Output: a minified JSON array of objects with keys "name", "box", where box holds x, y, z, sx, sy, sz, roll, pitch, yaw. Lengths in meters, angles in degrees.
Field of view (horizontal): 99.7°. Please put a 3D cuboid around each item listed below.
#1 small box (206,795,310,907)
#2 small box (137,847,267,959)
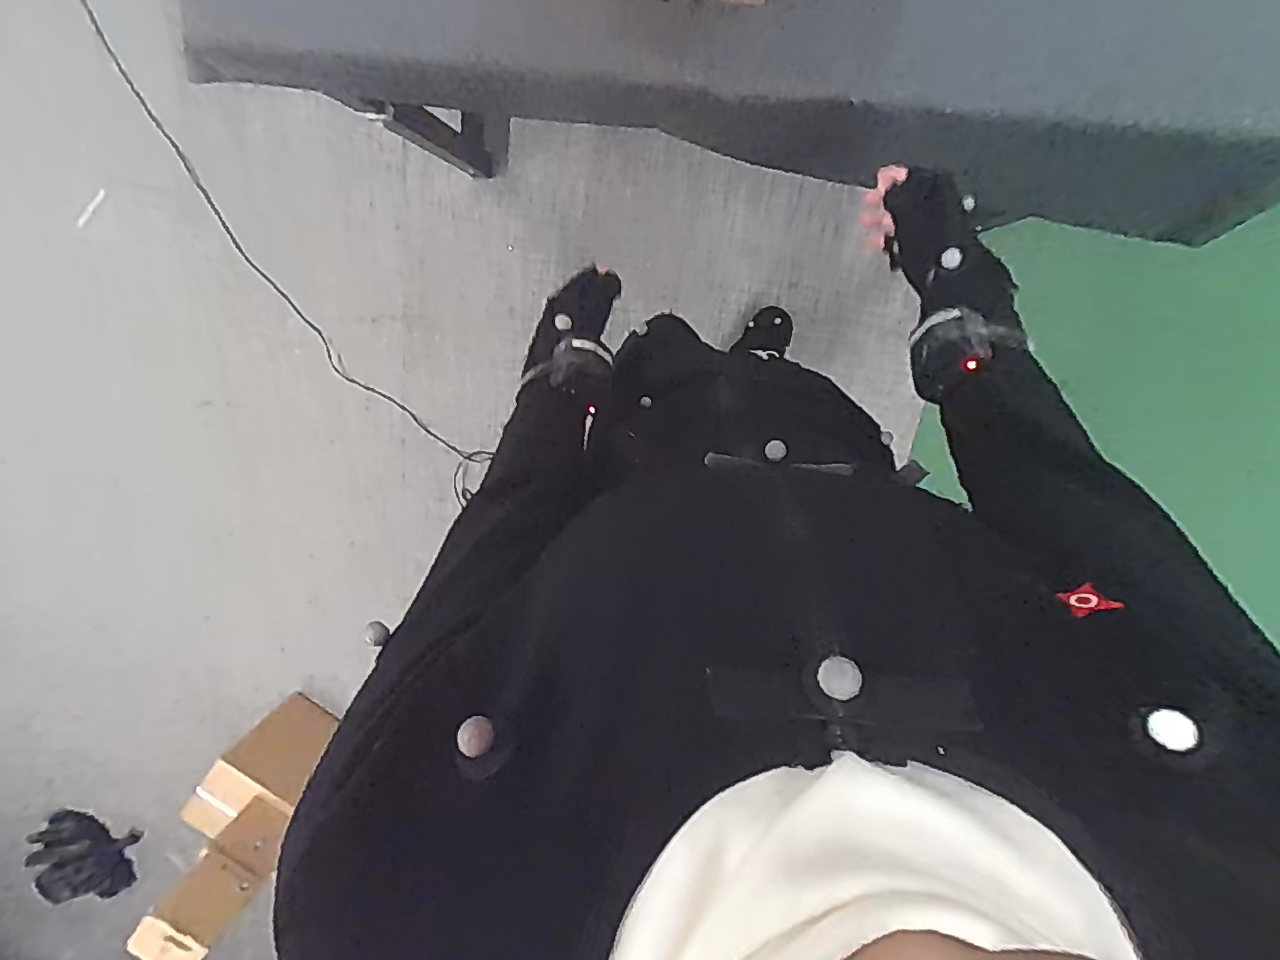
[{"name":"small box","box":[-1.090,1.047,1.539,0.179,0.176,0.168,34,109,-1]},{"name":"small box","box":[-1.103,1.089,1.377,0.168,0.176,0.179,39,108,-3]}]
